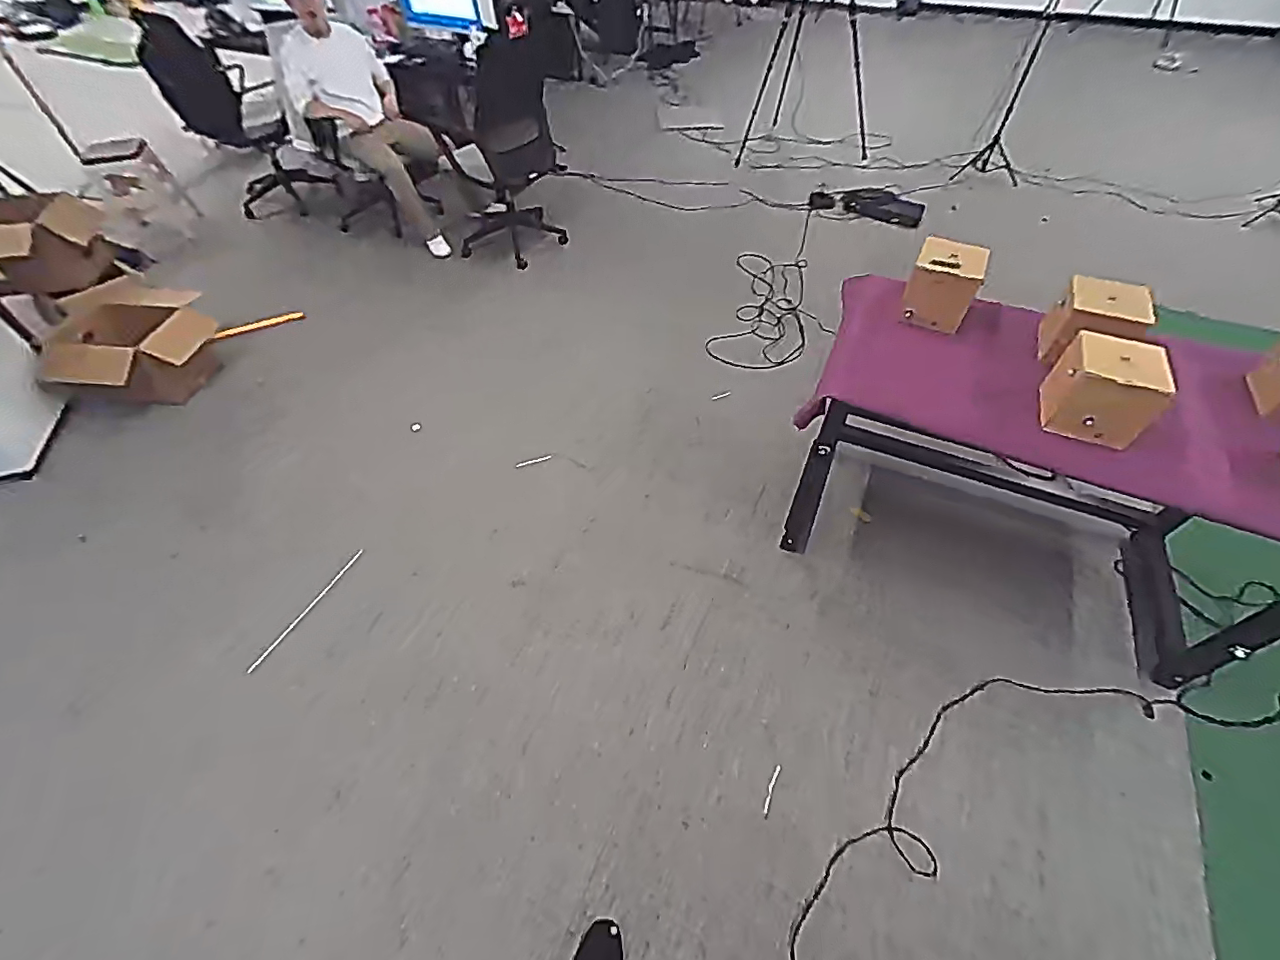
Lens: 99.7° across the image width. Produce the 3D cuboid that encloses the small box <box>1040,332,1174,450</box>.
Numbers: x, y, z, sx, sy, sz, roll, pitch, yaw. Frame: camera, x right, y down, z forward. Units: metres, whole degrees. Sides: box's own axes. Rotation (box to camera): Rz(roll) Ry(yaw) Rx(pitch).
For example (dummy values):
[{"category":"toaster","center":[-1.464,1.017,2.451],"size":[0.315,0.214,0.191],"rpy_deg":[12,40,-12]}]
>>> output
[{"category":"small box","center":[1.038,-0.200,1.220],"size":[0.168,0.176,0.179],"rpy_deg":[19,53,16]}]

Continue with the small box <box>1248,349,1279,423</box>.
[{"category":"small box","center":[1.566,-0.227,1.235],"size":[0.168,0.176,0.179],"rpy_deg":[19,52,17]}]

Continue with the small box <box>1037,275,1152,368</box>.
[{"category":"small box","center":[1.146,-0.388,1.378],"size":[0.168,0.176,0.179],"rpy_deg":[20,54,17]}]

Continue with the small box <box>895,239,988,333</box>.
[{"category":"small box","center":[0.831,-0.535,1.499],"size":[0.168,0.176,0.179],"rpy_deg":[22,55,17]}]
